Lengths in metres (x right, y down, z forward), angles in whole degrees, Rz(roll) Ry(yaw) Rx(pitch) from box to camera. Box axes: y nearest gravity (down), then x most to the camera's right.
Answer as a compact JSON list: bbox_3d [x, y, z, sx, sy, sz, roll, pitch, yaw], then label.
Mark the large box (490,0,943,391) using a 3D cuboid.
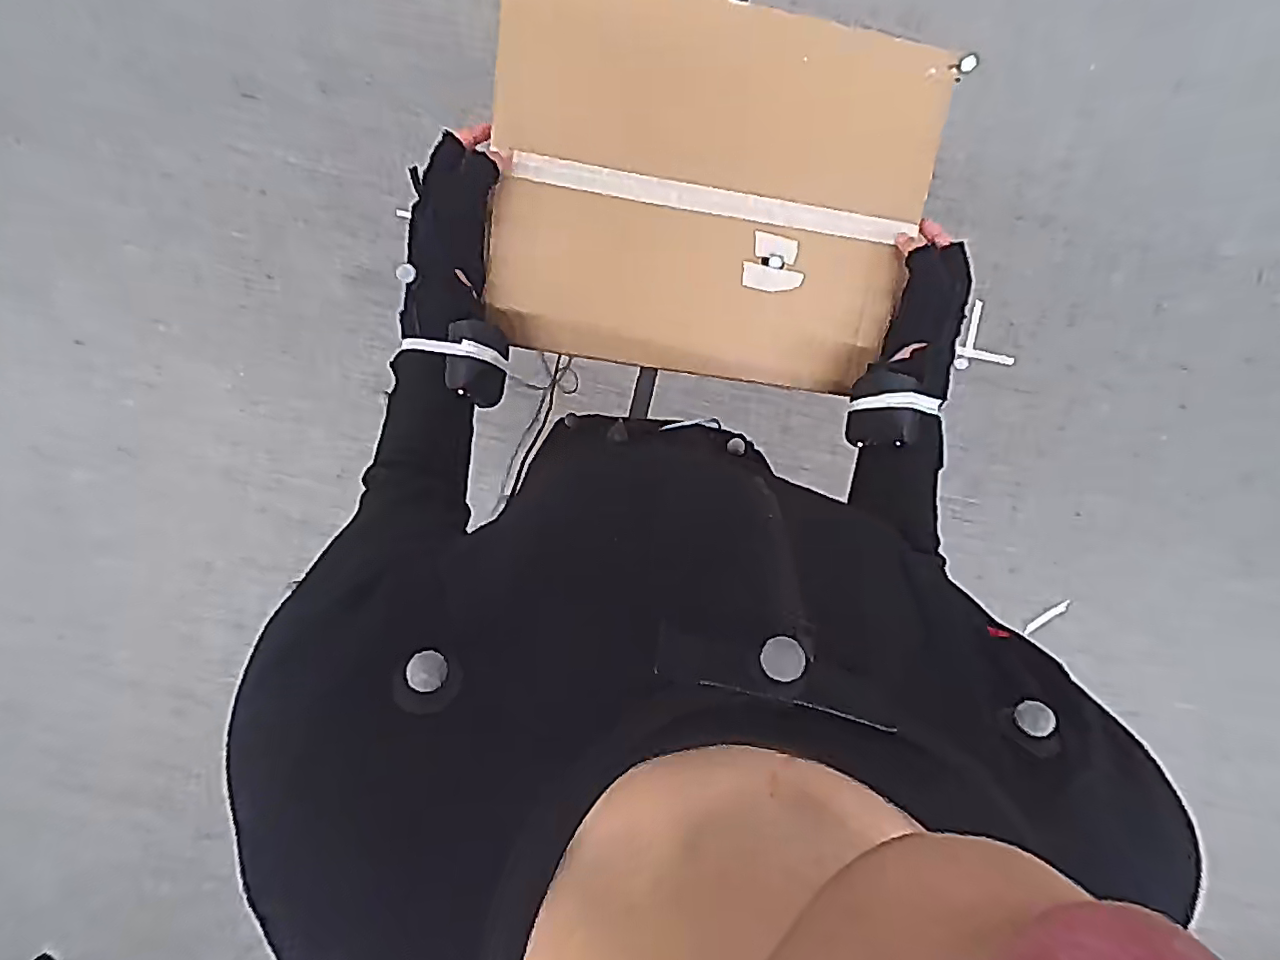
[{"bbox_3d":[0.053,-0.301,0.659,0.408,0.320,0.320,7,105,-7],"label":"large box"}]
